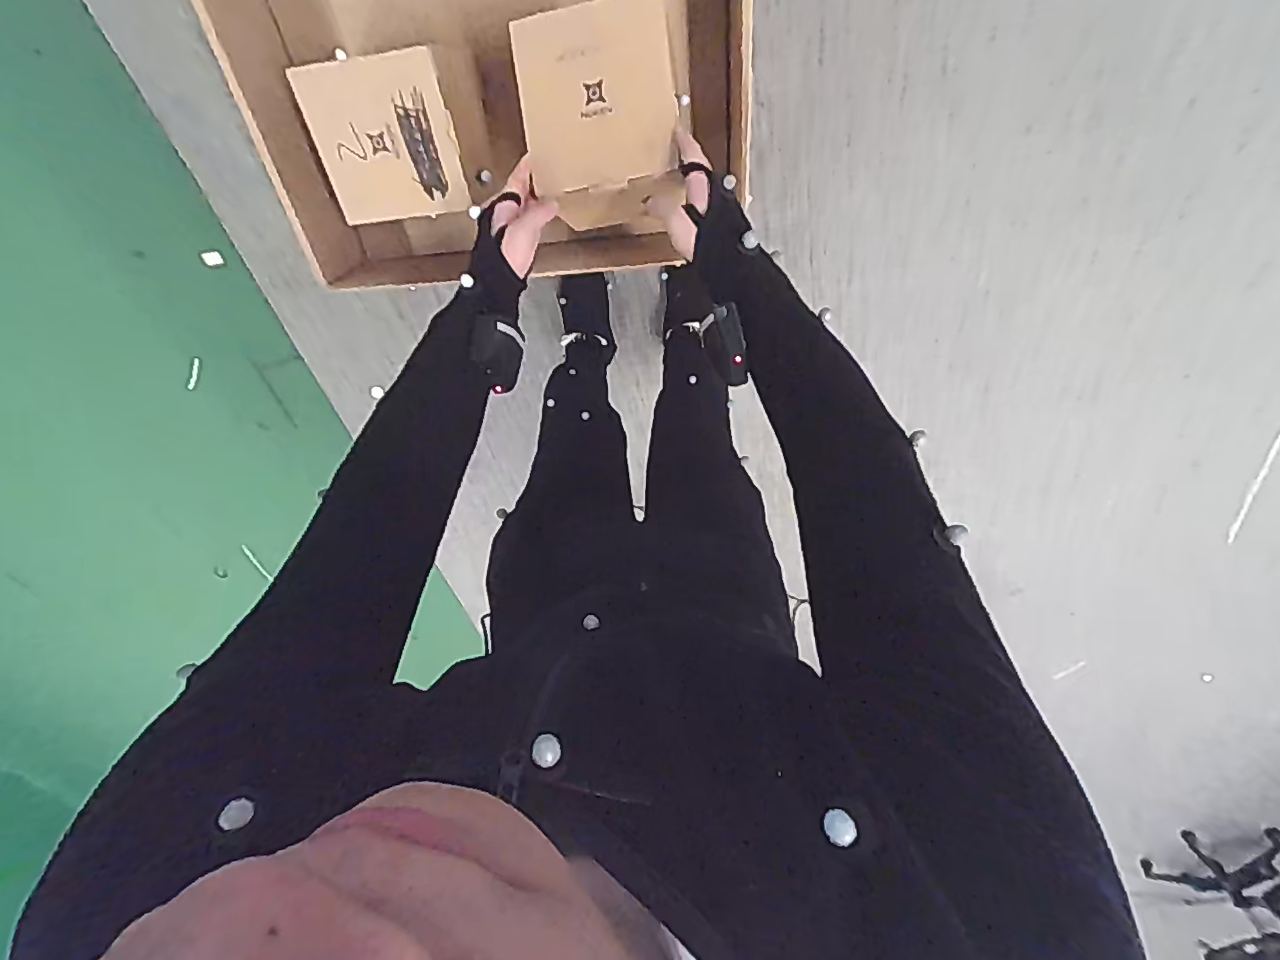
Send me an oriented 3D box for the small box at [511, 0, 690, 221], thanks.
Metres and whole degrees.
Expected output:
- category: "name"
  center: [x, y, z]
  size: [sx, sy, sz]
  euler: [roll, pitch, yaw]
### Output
- category: "small box"
  center: [-0.034, -0.426, 0.651]
  size: [0.168, 0.176, 0.179]
  euler: [-5, 102, 11]
